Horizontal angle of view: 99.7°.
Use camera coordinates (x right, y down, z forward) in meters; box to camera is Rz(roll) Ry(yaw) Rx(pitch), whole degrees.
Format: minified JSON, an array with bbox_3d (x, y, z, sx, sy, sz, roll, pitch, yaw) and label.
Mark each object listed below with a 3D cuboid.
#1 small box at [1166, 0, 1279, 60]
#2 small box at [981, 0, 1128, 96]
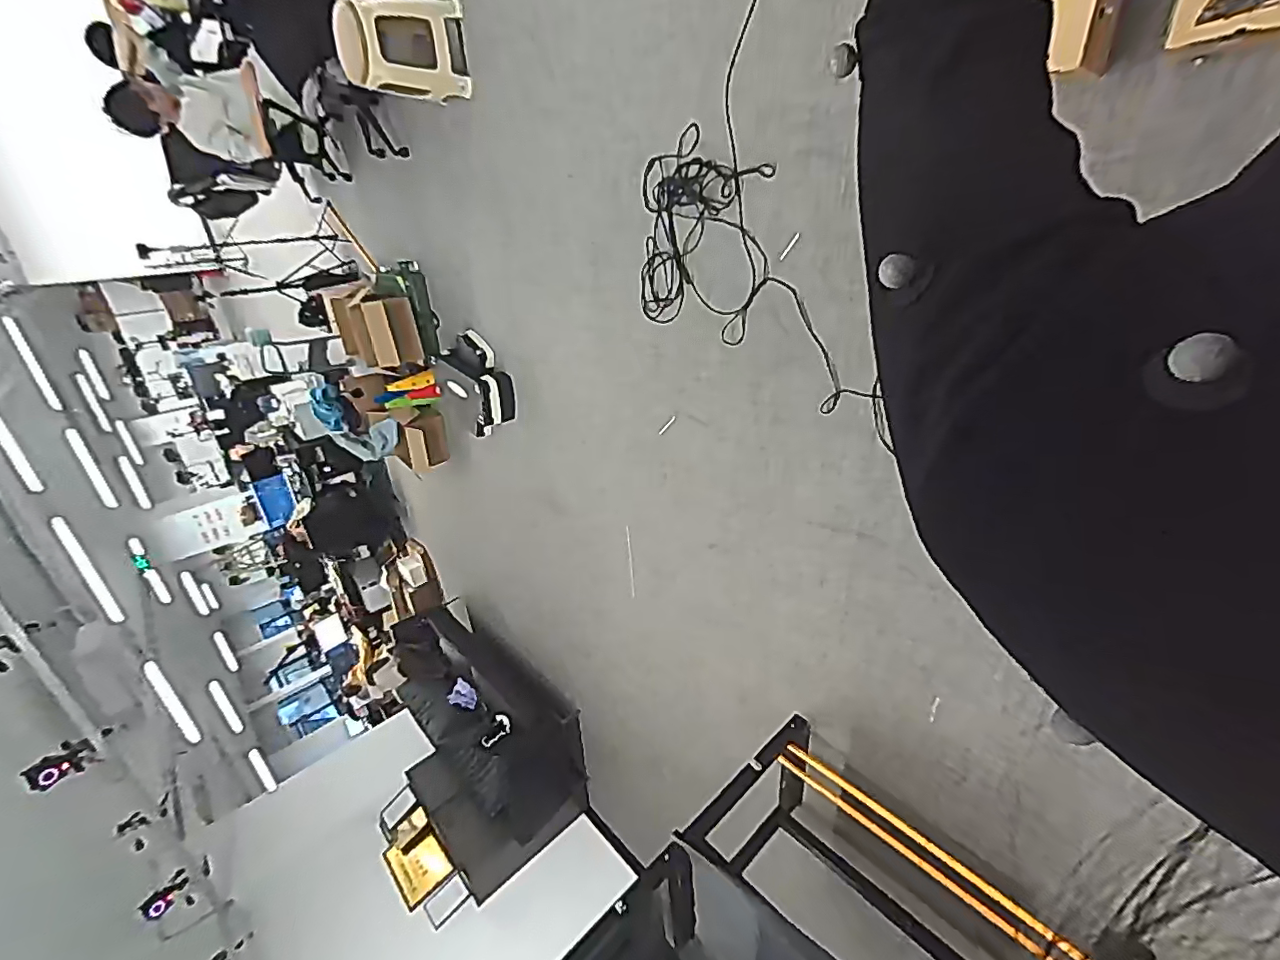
[{"bbox_3d":[0.939,-0.754,0.807,0.168,0.176,0.179,24,126,43],"label":"small box"},{"bbox_3d":[0.764,-0.830,0.992,0.168,0.176,0.179,25,128,43],"label":"small box"}]
